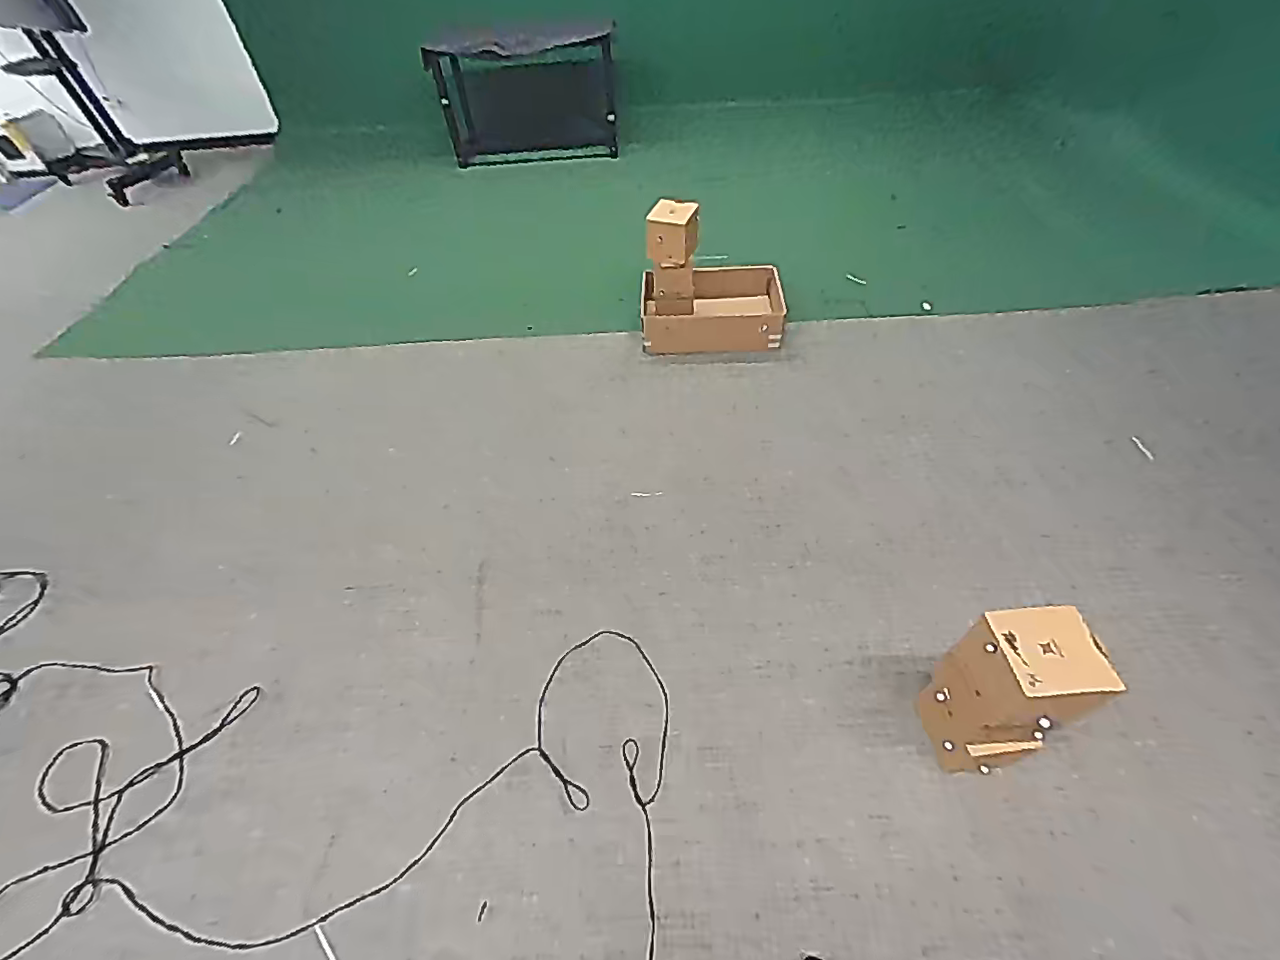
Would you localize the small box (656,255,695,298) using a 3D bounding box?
[{"bbox_3d":[0.152,-0.897,2.317,0.168,0.176,0.179,-1,49,2],"label":"small box"}]

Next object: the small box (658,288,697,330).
[{"bbox_3d":[0.167,-0.800,2.449,0.168,0.176,0.179,-3,50,2],"label":"small box"}]

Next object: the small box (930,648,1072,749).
[{"bbox_3d":[0.772,0.474,1.178,0.179,0.176,0.168,-4,48,2],"label":"small box"}]

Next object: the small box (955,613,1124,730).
[{"bbox_3d":[0.757,0.373,1.049,0.179,0.176,0.168,-3,48,1],"label":"small box"}]

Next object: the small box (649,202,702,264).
[{"bbox_3d":[0.147,-0.996,2.188,0.168,0.176,0.179,16,52,16],"label":"small box"}]
